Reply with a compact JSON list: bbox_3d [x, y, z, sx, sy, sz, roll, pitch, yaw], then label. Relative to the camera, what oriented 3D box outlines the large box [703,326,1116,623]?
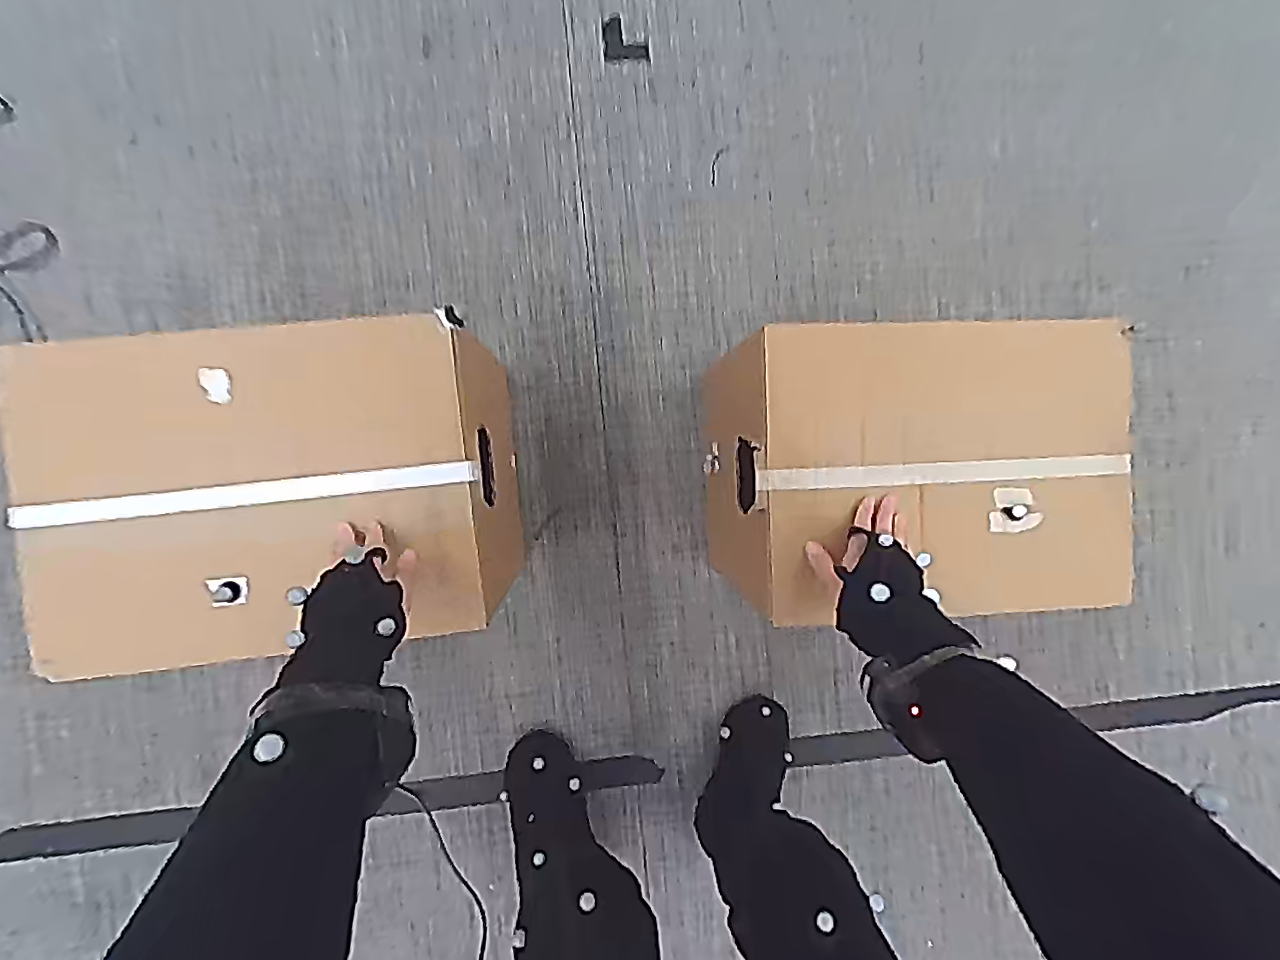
[{"bbox_3d":[0.318,-0.014,0.737,0.408,0.320,0.320,-2,93,-5],"label":"large box"}]
